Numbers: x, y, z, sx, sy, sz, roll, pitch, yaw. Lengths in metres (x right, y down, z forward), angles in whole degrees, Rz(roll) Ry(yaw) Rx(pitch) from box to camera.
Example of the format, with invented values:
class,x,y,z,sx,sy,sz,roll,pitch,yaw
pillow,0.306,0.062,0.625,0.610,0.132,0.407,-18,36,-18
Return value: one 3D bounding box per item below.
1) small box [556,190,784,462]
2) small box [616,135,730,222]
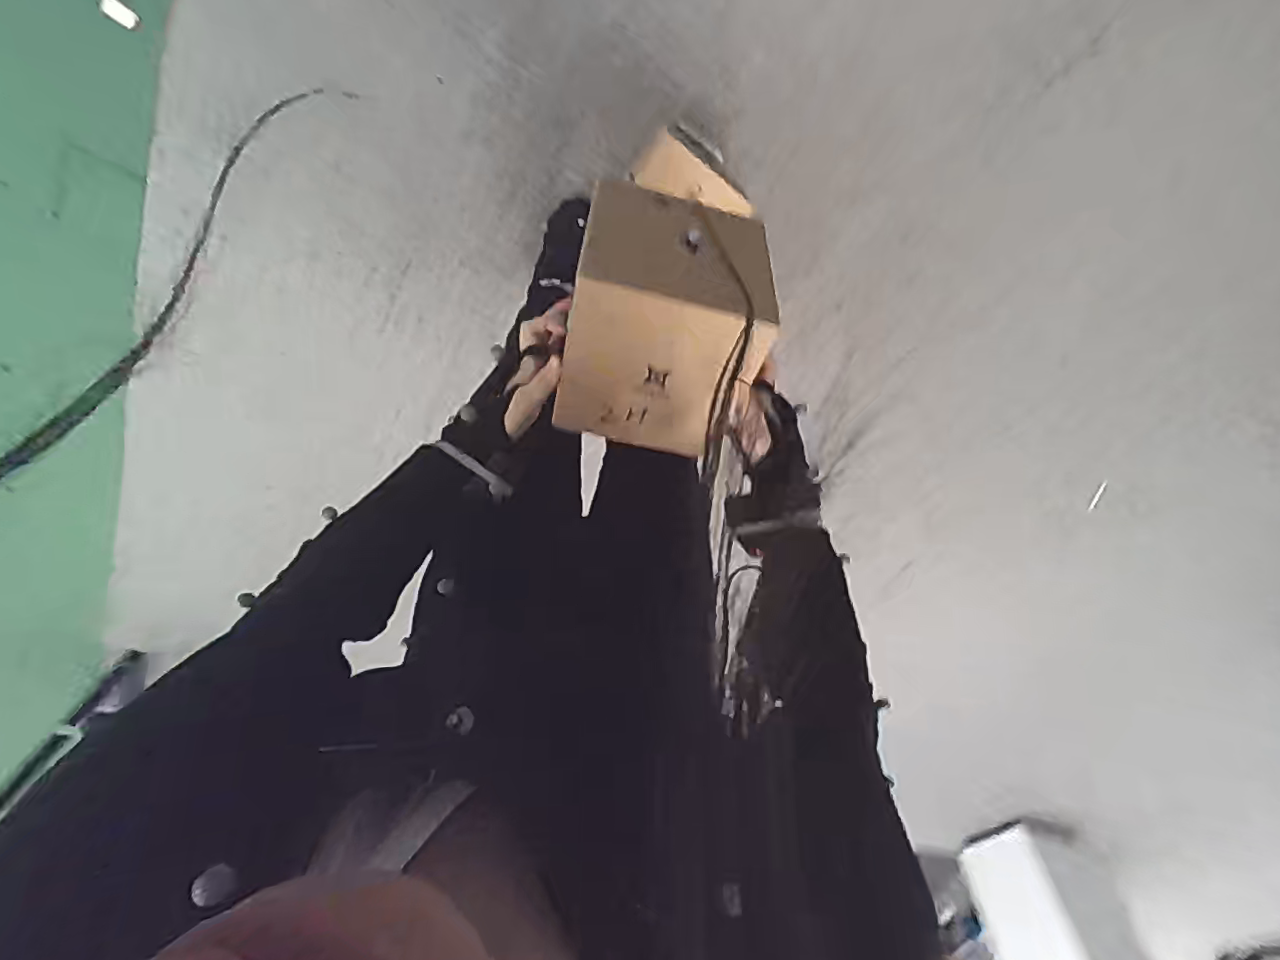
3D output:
class,x,y,z,sx,sy,sz,roll,pitch,yaw
small box,0.020,-0.148,0.532,0.168,0.176,0.179,12,143,-10
small box,0.045,-0.520,1.028,0.168,0.176,0.179,35,120,-22
